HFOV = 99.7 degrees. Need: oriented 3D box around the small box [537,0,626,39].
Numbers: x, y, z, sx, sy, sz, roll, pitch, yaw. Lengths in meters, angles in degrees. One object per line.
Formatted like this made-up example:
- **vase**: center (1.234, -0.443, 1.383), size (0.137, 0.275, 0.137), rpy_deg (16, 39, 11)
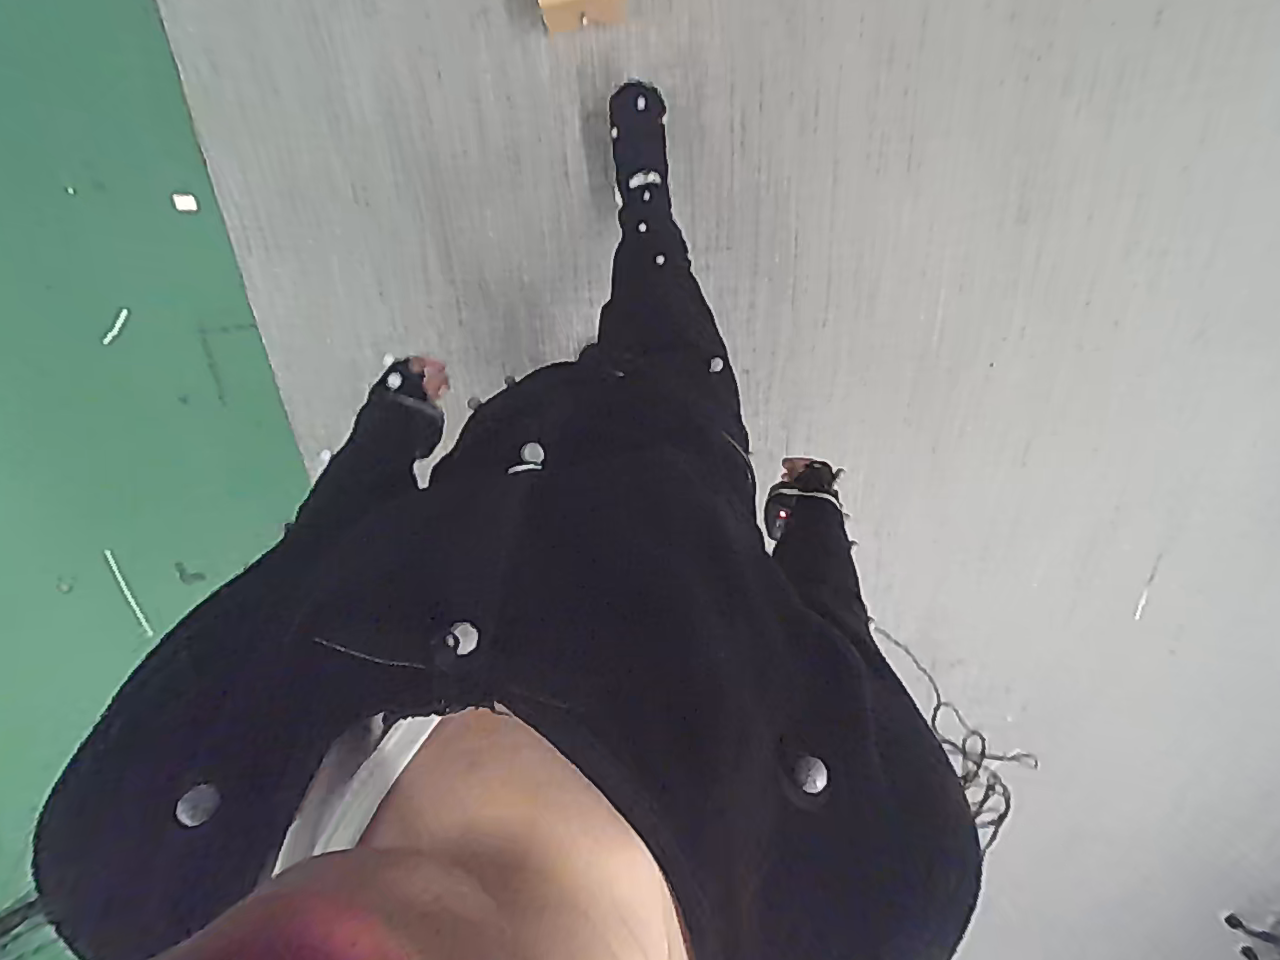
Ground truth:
- **small box**: center (-0.118, -0.972, 1.024), size (0.168, 0.176, 0.179), rpy_deg (-10, 114, 2)
